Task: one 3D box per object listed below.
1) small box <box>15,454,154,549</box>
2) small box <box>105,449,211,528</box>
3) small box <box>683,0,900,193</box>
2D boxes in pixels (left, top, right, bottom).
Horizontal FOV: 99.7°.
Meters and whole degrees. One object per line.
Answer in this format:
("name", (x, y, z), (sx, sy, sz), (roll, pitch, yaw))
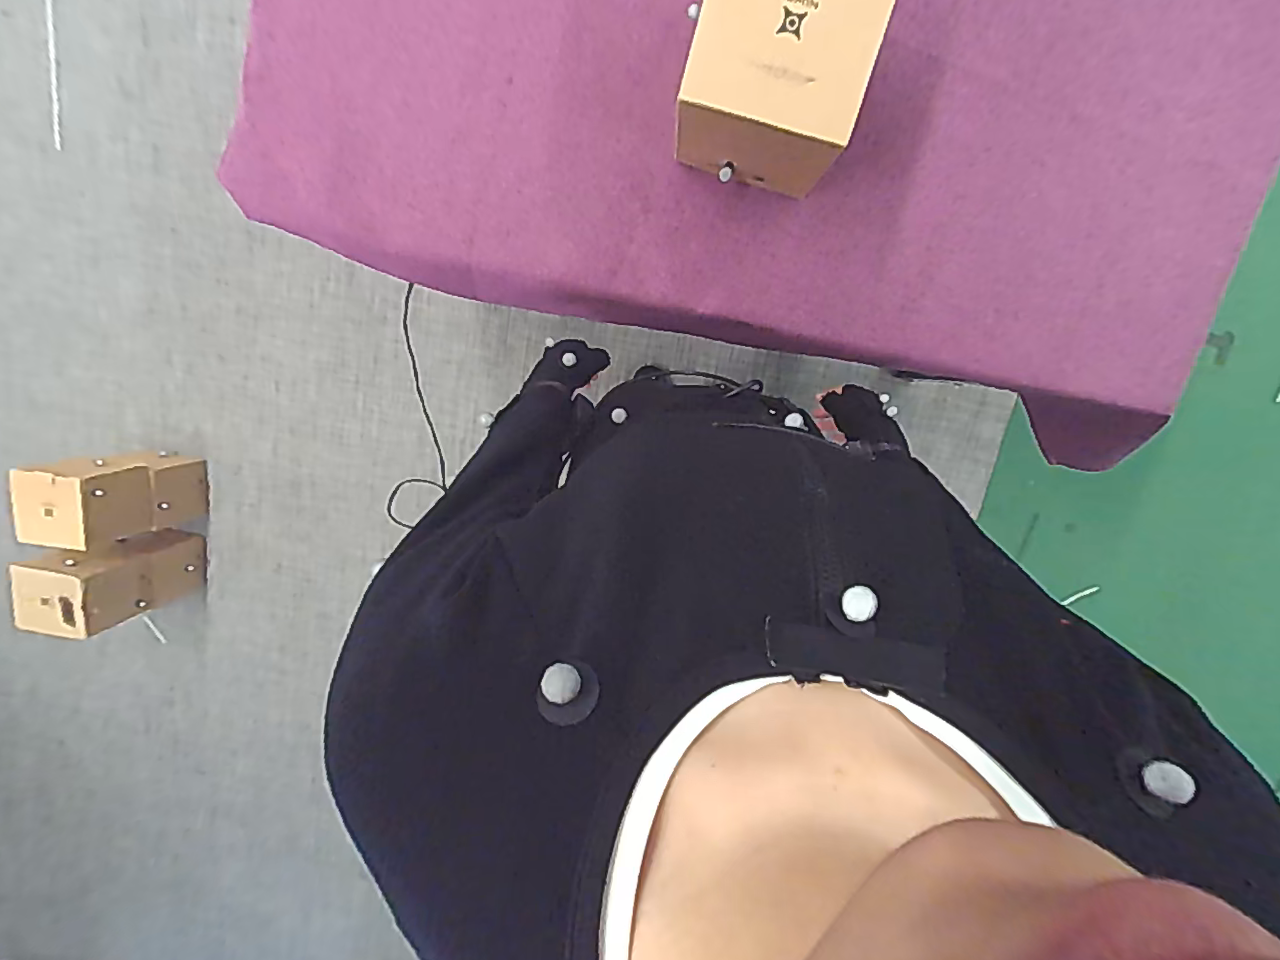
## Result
("small box", (-1.323, 0.046, 1.302), (0.168, 0.176, 0.179), (8, 102, 0))
("small box", (-1.313, 0.017, 1.462), (0.179, 0.176, 0.168), (9, 103, 1))
("small box", (0.143, -0.429, 0.555), (0.168, 0.176, 0.179), (16, 103, 0))
